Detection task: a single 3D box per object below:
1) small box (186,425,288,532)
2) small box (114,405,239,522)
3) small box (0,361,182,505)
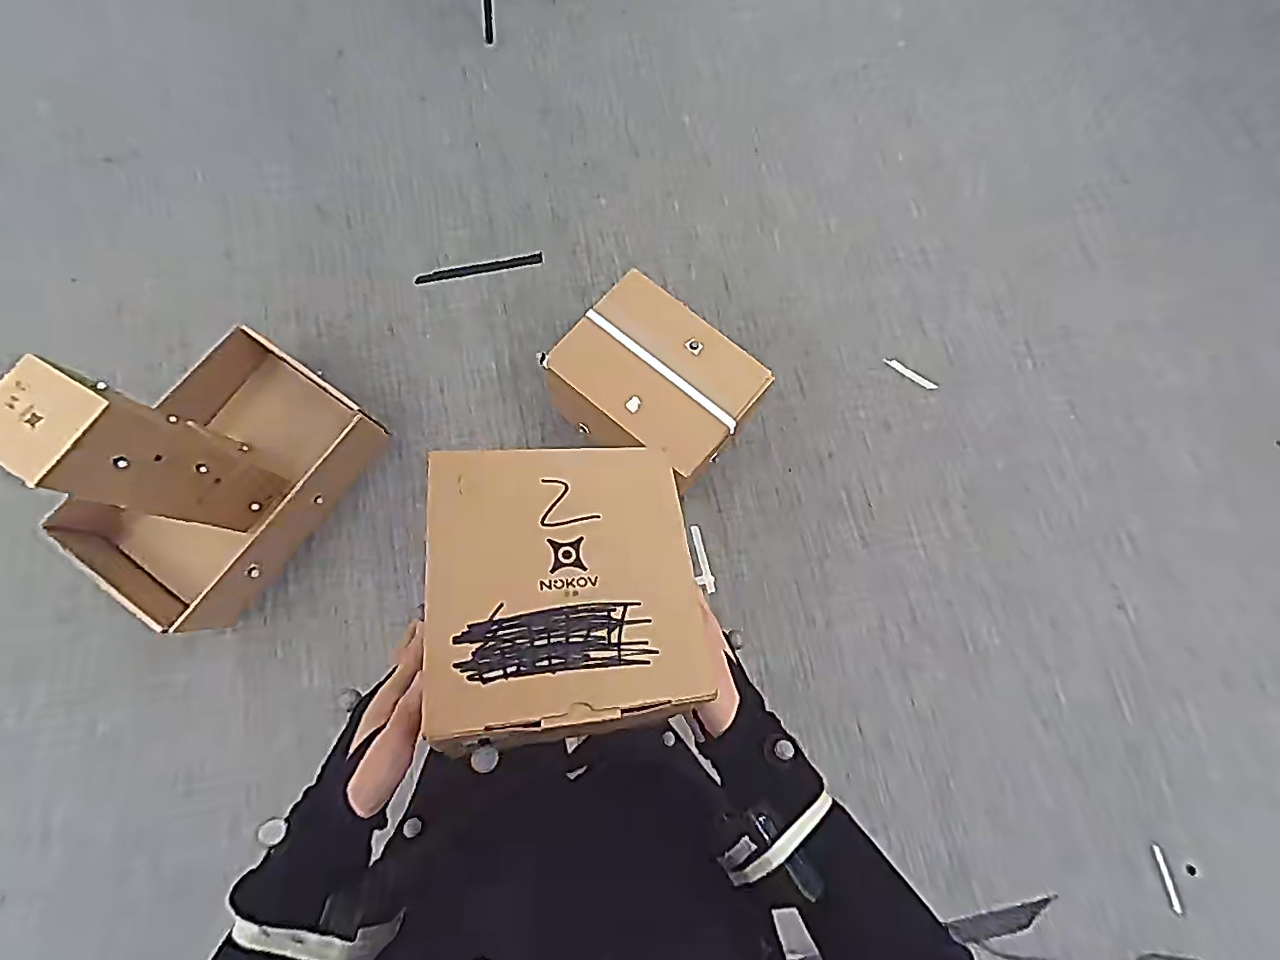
[{"bbox_3d":[-0.984,0.006,1.262,0.179,0.176,0.168,34,78,5],"label":"small box"},{"bbox_3d":[-0.983,-0.028,1.103,0.179,0.176,0.168,30,76,6],"label":"small box"},{"bbox_3d":[-0.974,-0.070,0.944,0.179,0.176,0.168,30,76,5],"label":"small box"}]
